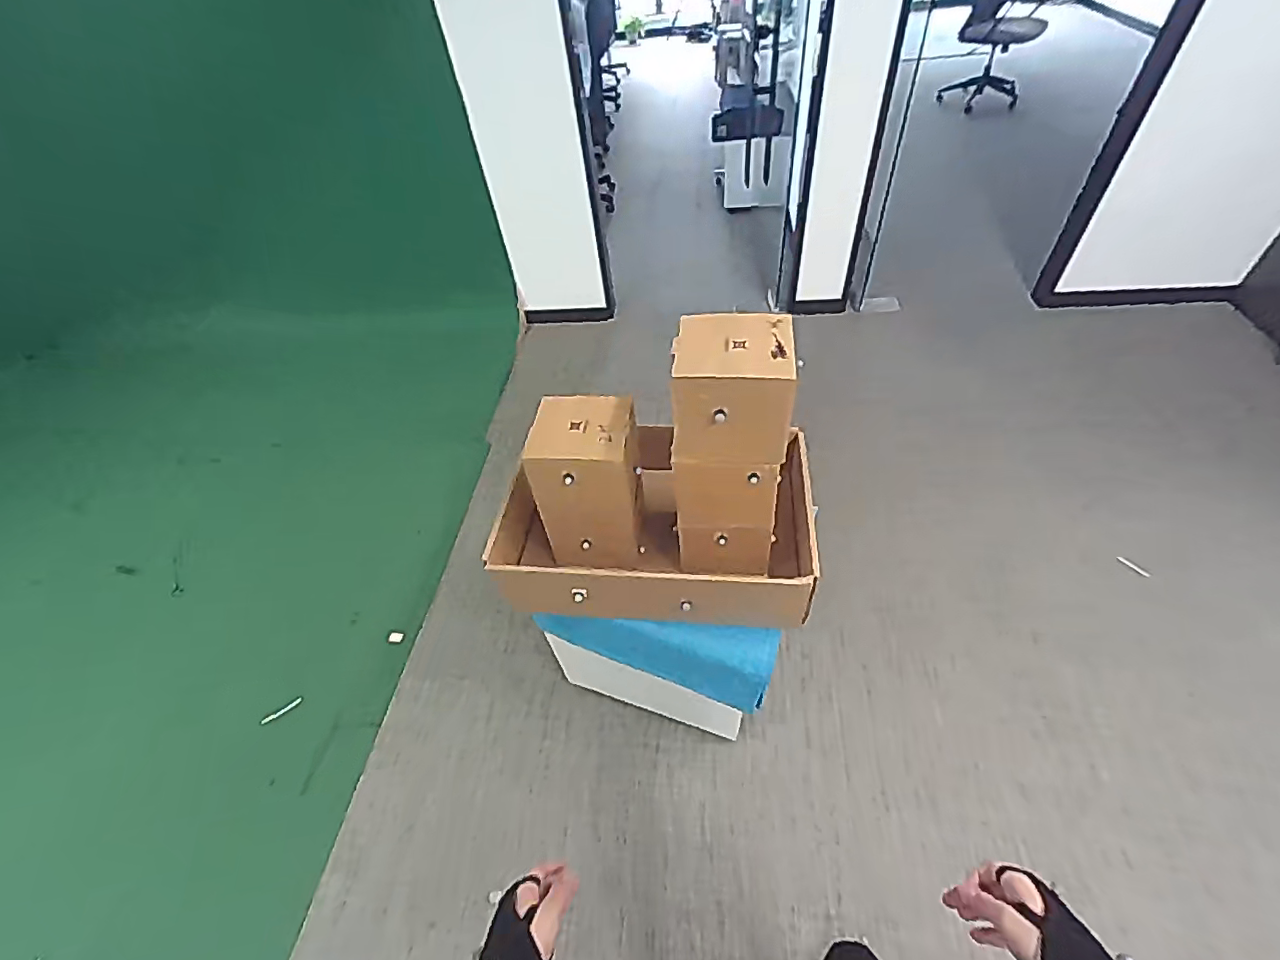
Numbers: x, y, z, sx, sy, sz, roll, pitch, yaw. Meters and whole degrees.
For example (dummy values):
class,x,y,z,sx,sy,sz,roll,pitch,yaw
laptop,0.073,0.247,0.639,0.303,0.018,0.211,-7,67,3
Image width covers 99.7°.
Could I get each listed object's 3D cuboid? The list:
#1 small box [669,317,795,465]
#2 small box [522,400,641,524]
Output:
class,x,y,z,sx,sy,sz,roll,pitch,yaw
small box,0.146,-0.138,0.856,0.179,0.176,0.168,2,48,10
small box,-0.098,-0.032,1.009,0.179,0.176,0.168,2,48,7
